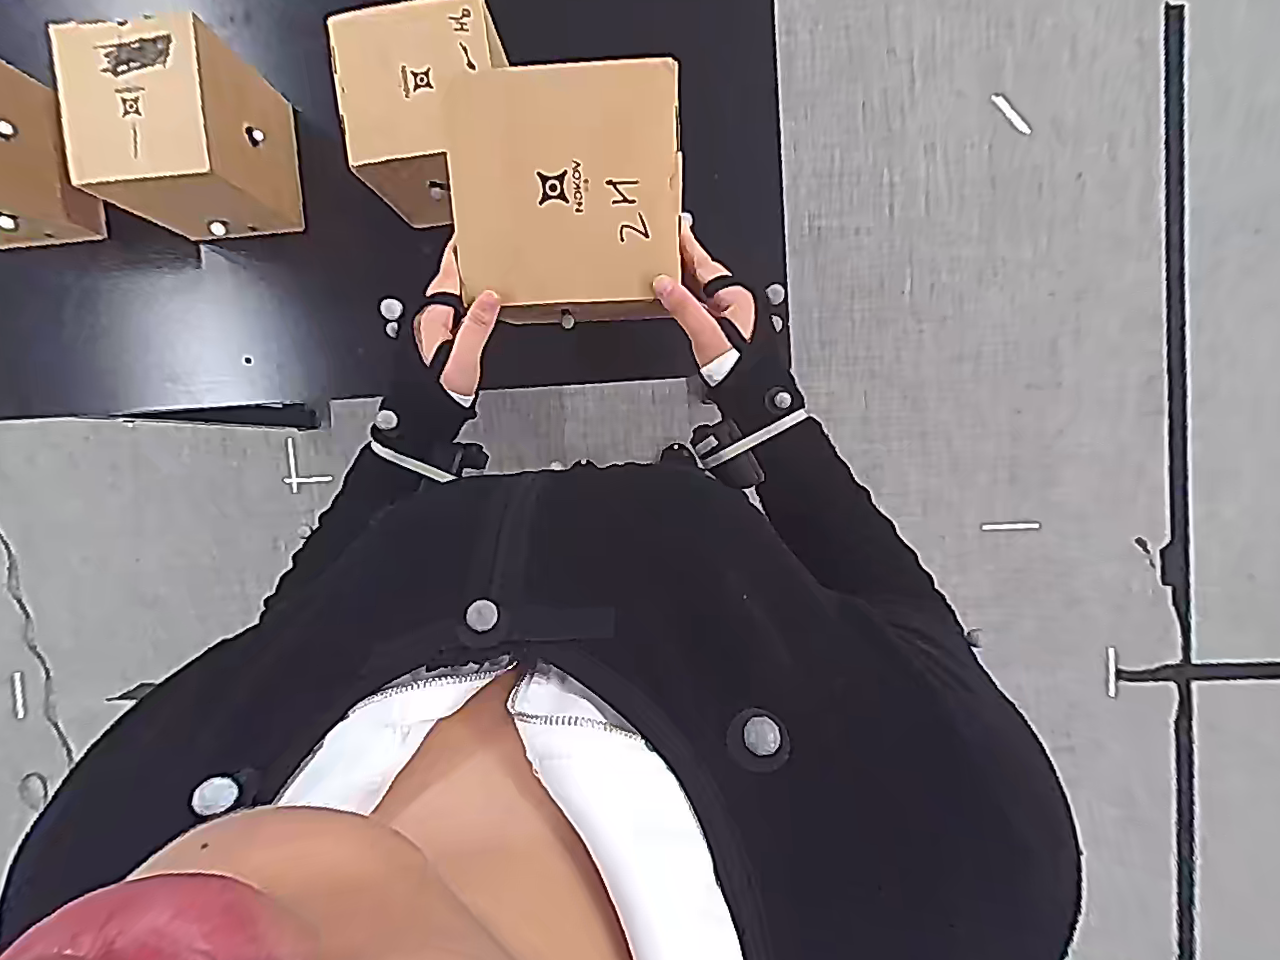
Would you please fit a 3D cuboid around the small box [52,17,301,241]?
[{"bbox_3d":[-0.567,-0.428,0.686,0.168,0.176,0.179,-4,93,2],"label":"small box"}]

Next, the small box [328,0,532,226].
[{"bbox_3d":[-0.249,-0.441,0.678,0.179,0.176,0.168,-8,93,2],"label":"small box"}]

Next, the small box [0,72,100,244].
[{"bbox_3d":[-0.854,-0.419,0.693,0.168,0.176,0.179,-5,92,0],"label":"small box"}]
